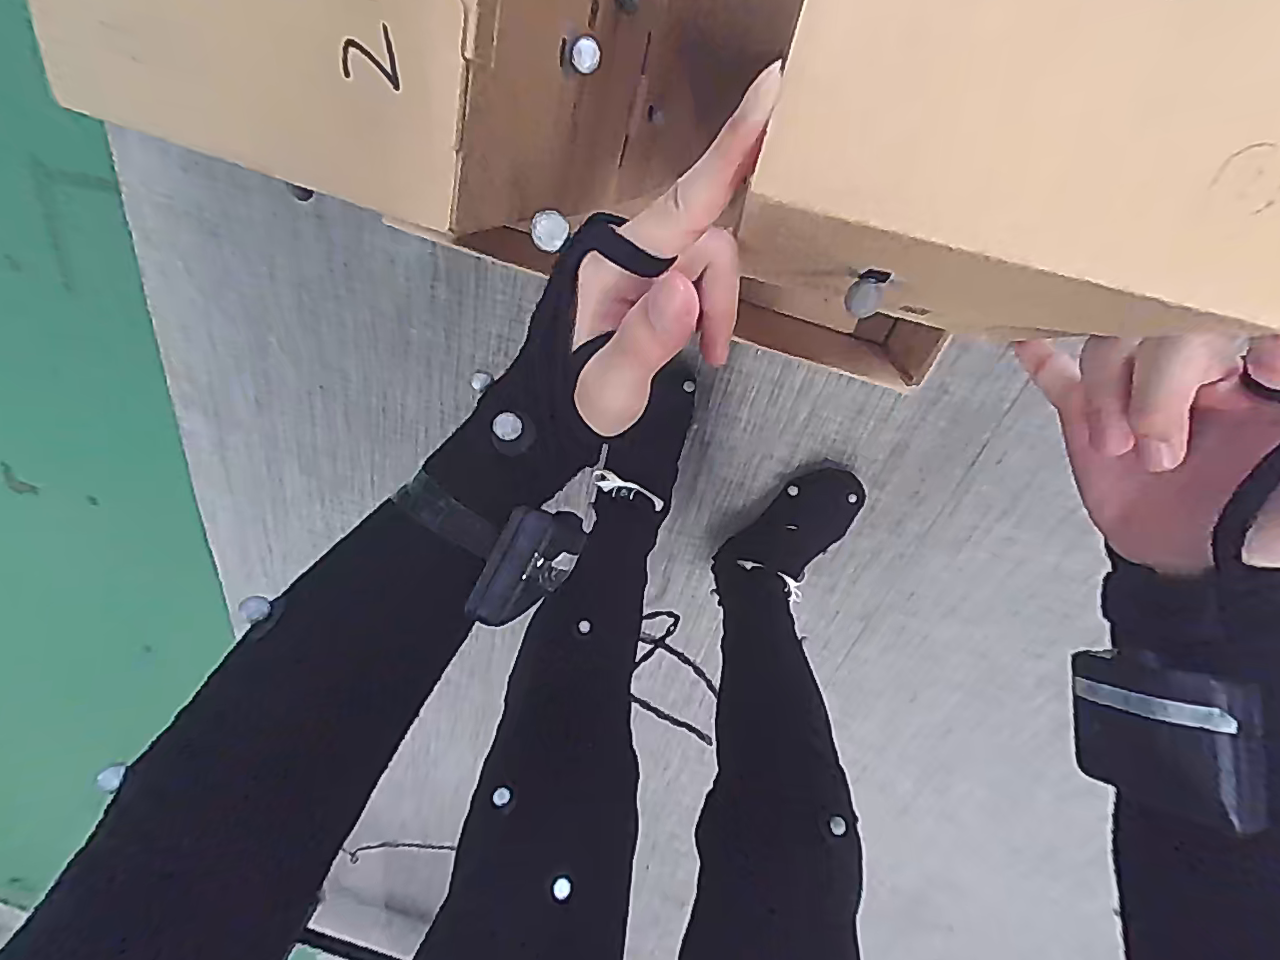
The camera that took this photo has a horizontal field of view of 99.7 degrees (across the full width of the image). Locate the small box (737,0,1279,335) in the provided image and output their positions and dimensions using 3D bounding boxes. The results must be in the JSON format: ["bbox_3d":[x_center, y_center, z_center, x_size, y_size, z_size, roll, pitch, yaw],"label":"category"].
[{"bbox_3d":[0.140,-0.163,0.214,0.168,0.176,0.179,15,103,4],"label":"small box"}]

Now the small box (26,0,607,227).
[{"bbox_3d":[-0.124,-0.233,0.250,0.179,0.176,0.168,18,121,0],"label":"small box"}]
